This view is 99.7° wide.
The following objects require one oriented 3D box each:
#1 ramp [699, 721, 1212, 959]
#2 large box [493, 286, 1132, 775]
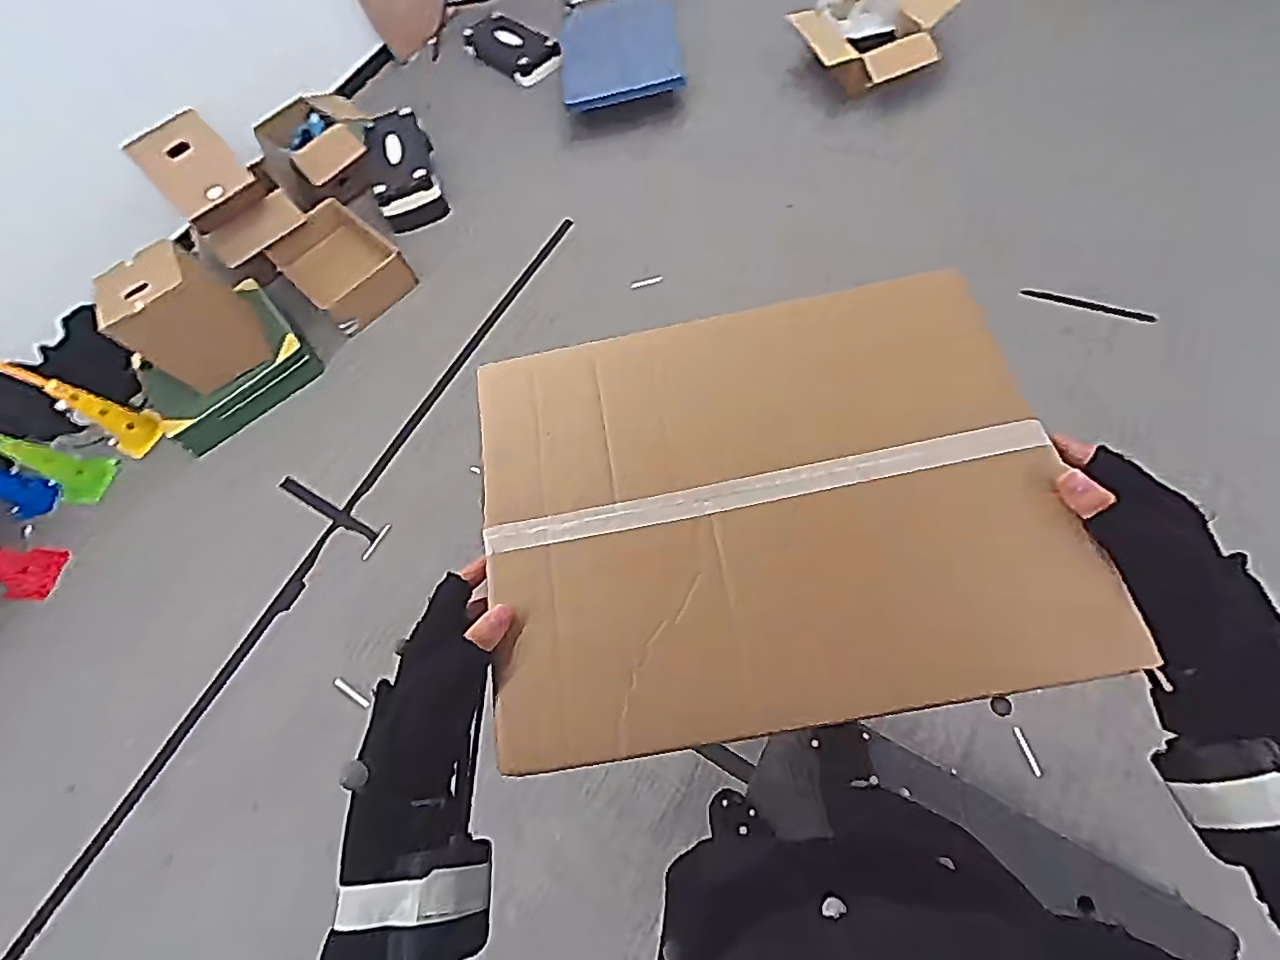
[{"bbox_3d":[0.672,0.917,1.162,0.991,0.206,0.509,23,69,19],"label":"ramp"},{"bbox_3d":[0.109,0.068,0.537,0.408,0.320,0.320,-10,67,3],"label":"large box"}]
